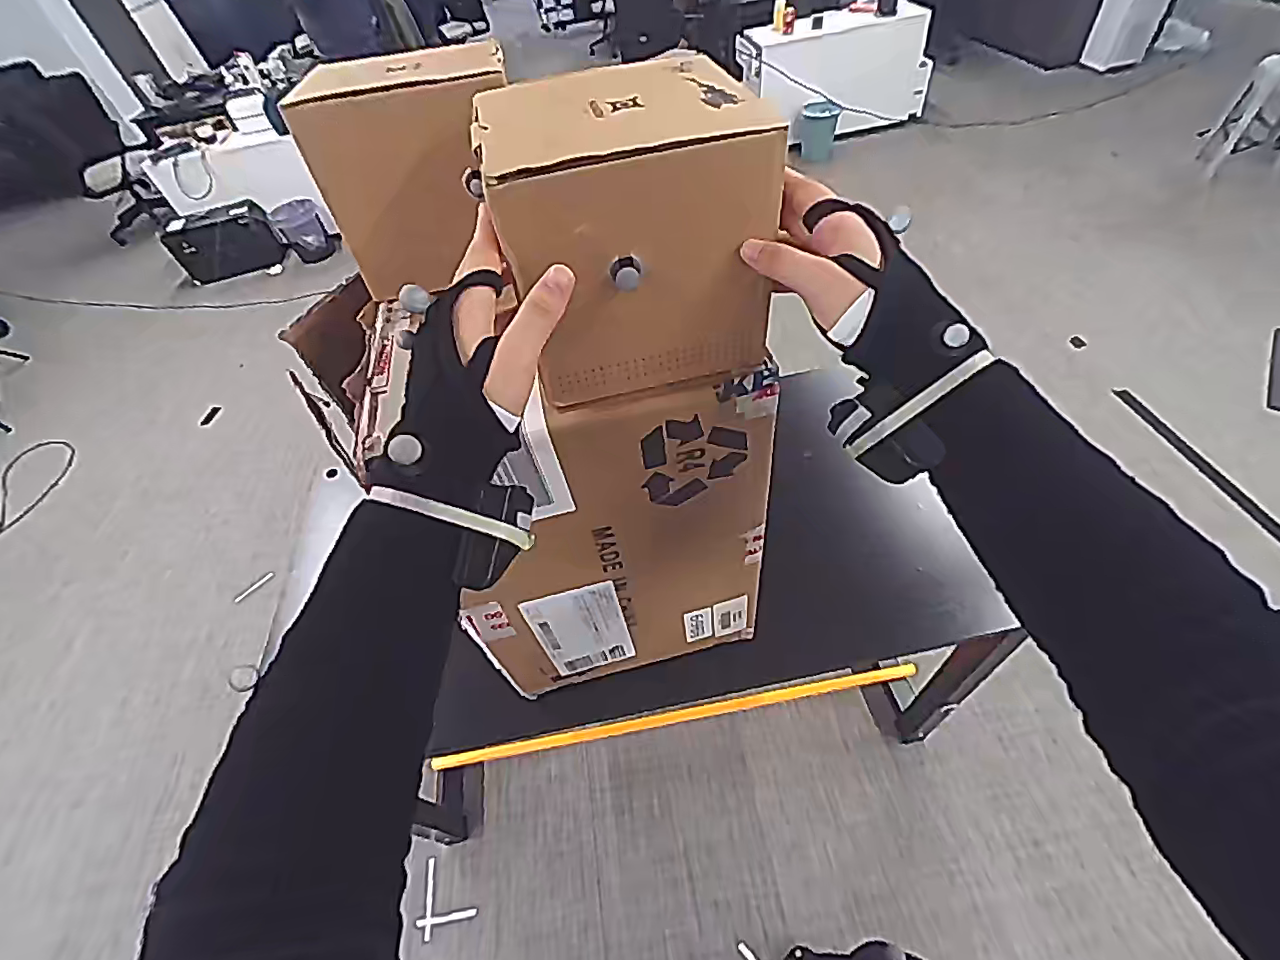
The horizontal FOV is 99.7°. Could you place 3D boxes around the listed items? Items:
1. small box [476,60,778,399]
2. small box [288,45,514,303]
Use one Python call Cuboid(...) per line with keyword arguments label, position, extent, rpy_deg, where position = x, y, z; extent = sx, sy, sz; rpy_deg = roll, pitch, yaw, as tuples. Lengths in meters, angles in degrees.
Cuboid(label="small box", position=(-0.011, -0.185, 0.414), extent=(0.179, 0.176, 0.168), rpy_deg=(-14, 52, -4))
Cuboid(label="small box", position=(-0.199, -0.302, 0.539), extent=(0.179, 0.176, 0.168), rpy_deg=(-13, 47, -4))
